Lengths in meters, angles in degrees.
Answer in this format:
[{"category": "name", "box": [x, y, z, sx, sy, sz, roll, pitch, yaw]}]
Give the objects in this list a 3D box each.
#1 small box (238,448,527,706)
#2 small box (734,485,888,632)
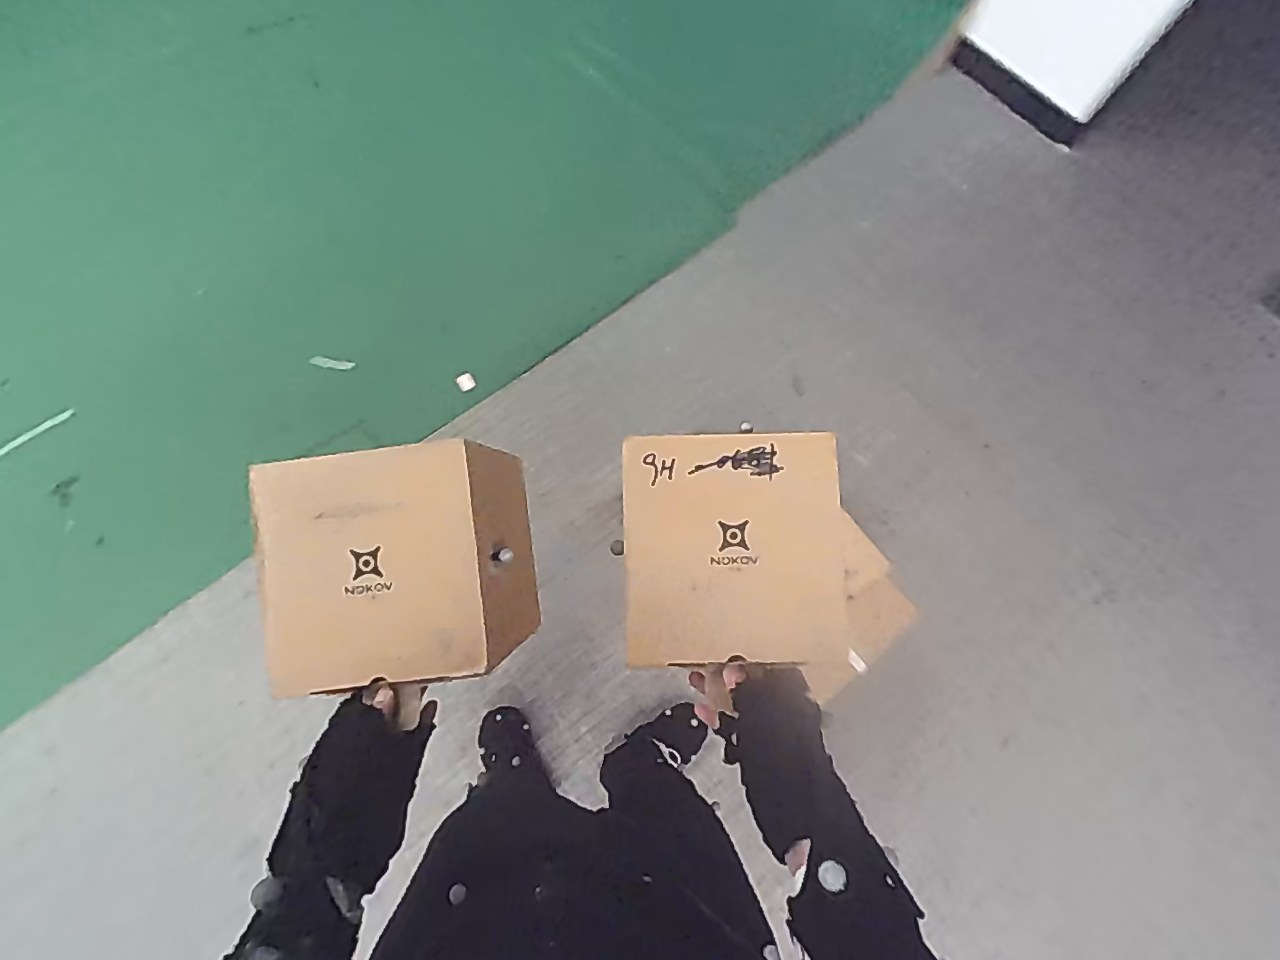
[{"category": "small box", "box": [-0.209, 0.075, 0.484, 0.168, 0.176, 0.179, -10, 87, 2]}, {"category": "small box", "box": [0.280, 0.134, 0.930, 0.168, 0.176, 0.179, -39, 78, -3]}]
